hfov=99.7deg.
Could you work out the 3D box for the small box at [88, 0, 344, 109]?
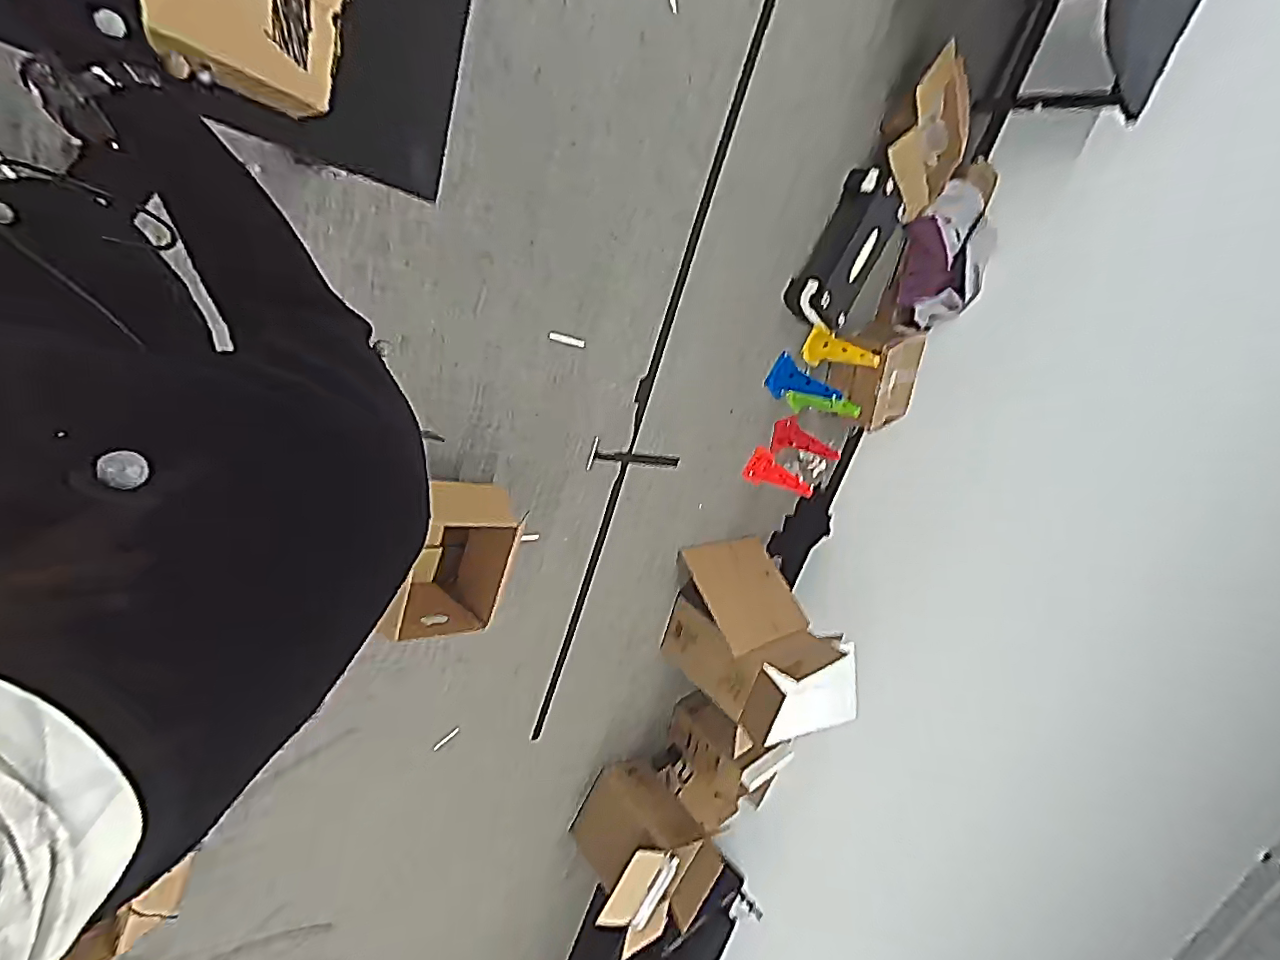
[{"bbox_3d":[-0.405,-0.491,0.523,0.179,0.176,0.168,4,111,-44],"label":"small box"}]
